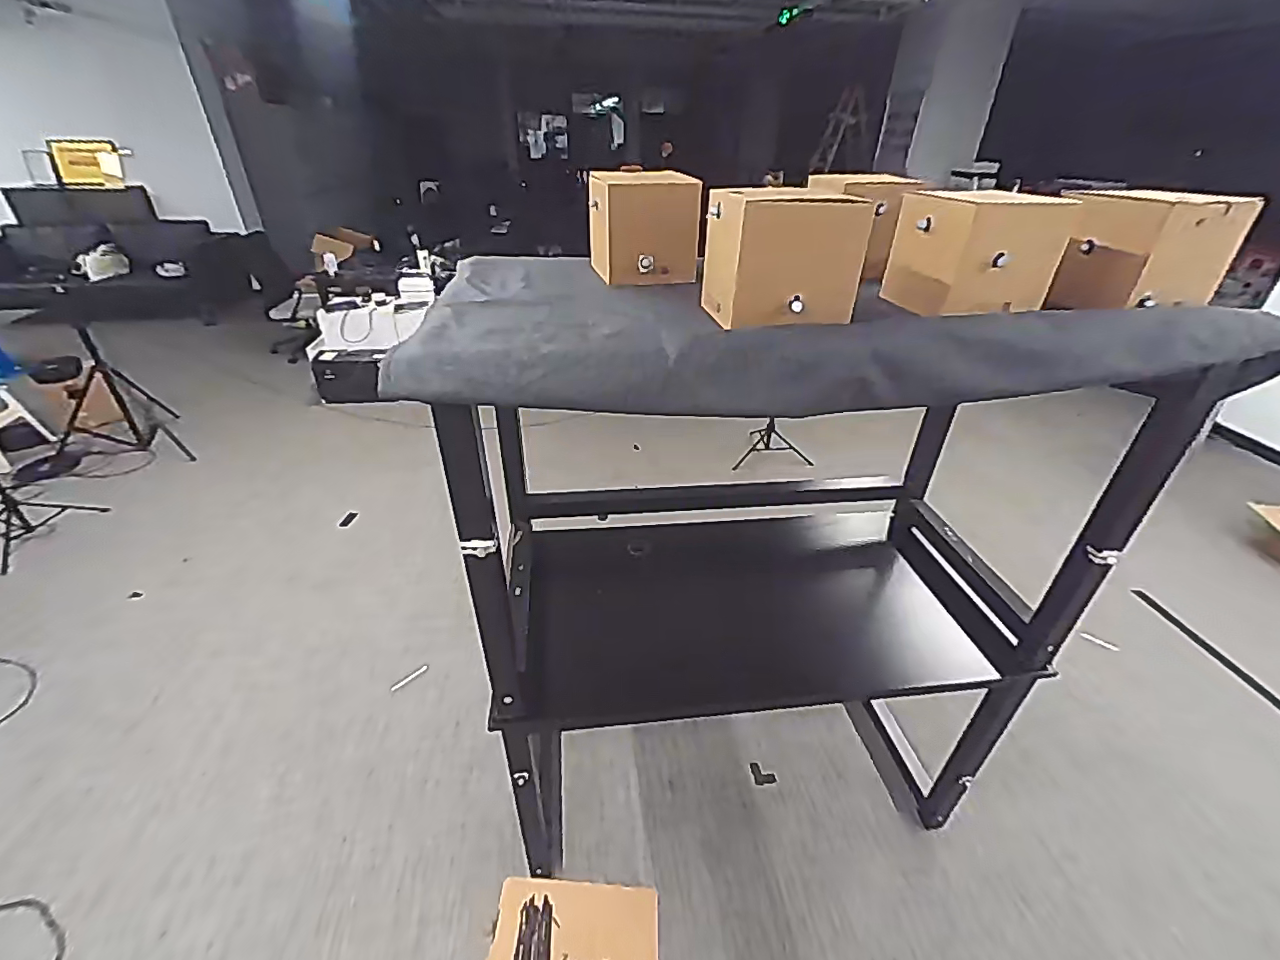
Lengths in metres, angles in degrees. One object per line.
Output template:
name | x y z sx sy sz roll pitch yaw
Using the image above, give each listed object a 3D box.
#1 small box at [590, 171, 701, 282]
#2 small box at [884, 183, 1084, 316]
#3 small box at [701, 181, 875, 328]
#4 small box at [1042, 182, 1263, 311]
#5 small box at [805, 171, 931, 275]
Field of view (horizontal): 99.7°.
small box | 0.002 -0.468 0.994 0.168 0.176 0.179 -8 34 -12
small box | 0.510 -0.355 0.833 0.168 0.176 0.179 -5 32 -9
small box | 0.194 -0.320 0.767 0.179 0.176 0.168 -3 31 -8
small box | 0.783 -0.370 0.858 0.168 0.176 0.179 -7 32 -11
small box | 0.428 -0.506 1.065 0.179 0.176 0.168 -3 34 -7
